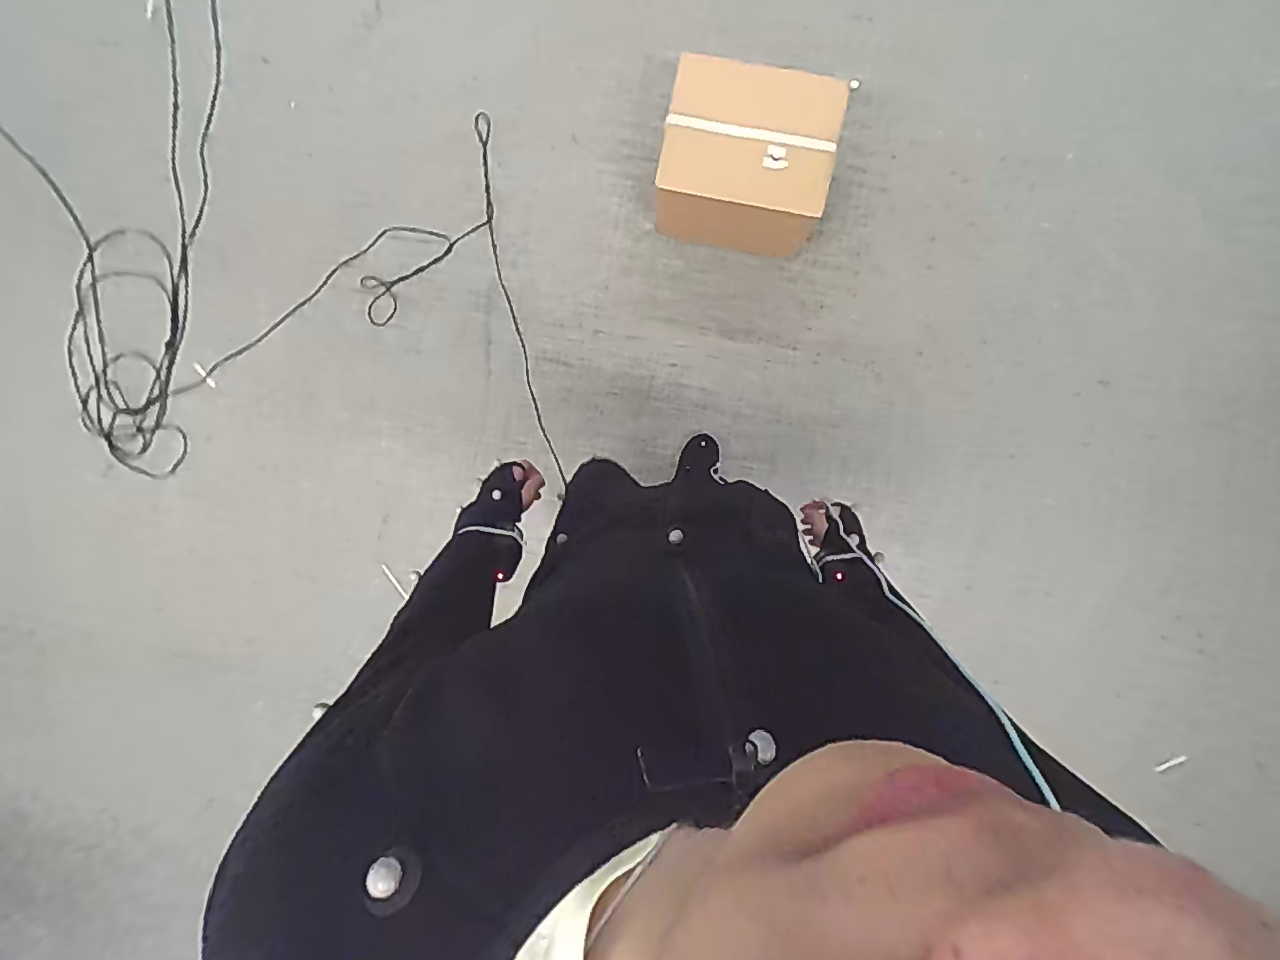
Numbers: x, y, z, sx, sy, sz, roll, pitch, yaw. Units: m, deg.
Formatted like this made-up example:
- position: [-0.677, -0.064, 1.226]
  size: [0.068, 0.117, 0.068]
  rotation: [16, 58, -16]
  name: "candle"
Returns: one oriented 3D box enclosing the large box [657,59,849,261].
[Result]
- position: [0.268, -0.810, 1.414]
  size: [0.408, 0.320, 0.320]
  rotation: [12, 94, 2]
  name: "large box"
